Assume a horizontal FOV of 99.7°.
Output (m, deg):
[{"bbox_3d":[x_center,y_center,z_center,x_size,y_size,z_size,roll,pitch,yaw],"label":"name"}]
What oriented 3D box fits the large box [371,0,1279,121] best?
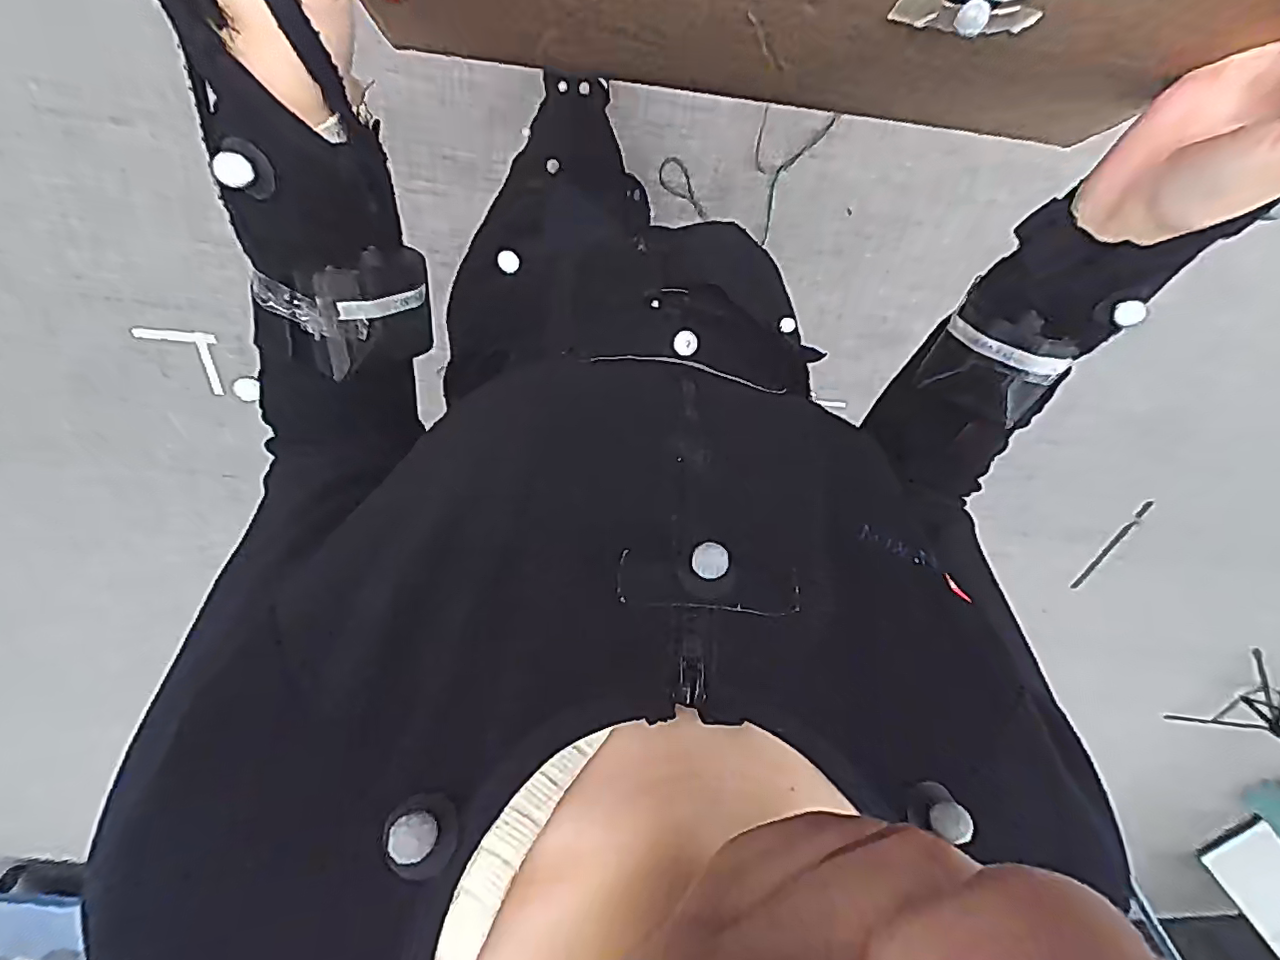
[{"bbox_3d":[0.079,-0.353,0.142,0.408,0.320,0.320,4,101,-4],"label":"large box"}]
